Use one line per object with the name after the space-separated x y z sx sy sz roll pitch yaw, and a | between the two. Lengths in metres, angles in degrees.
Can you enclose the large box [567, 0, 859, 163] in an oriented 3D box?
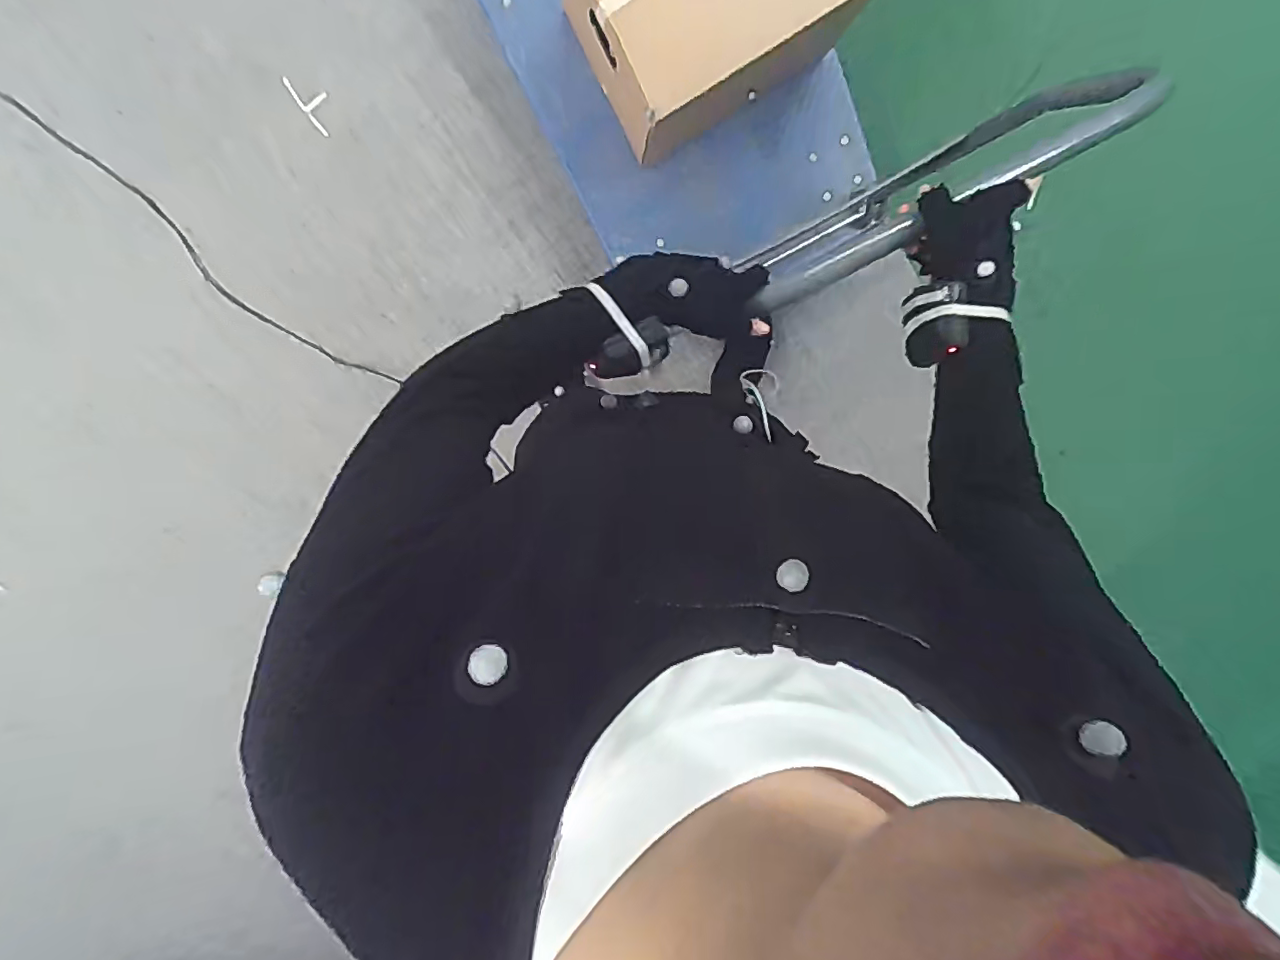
0.114 -0.818 0.905 0.408 0.320 0.320 -29 107 8 | large box
